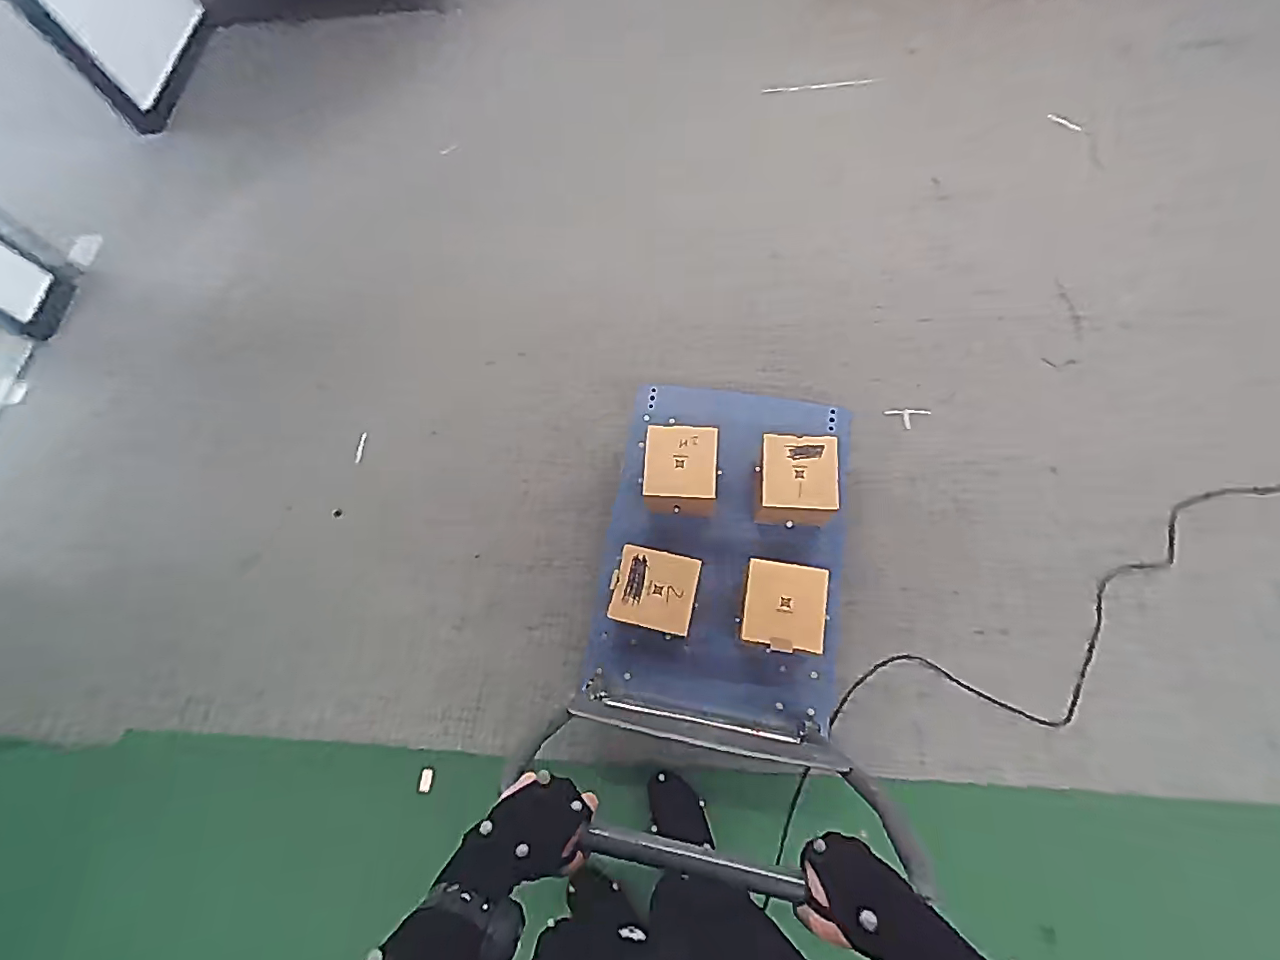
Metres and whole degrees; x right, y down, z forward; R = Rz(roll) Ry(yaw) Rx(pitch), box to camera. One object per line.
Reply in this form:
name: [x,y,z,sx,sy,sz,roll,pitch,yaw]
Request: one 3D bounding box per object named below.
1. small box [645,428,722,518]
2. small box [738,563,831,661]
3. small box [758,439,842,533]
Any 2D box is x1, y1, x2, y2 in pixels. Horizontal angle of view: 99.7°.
small box: [0.107,-0.010,1.315,0.168,0.176,0.179,4,72,6]
small box: [0.314,0.295,1.199,0.168,0.176,0.179,9,74,8]
small box: [0.373,0.017,1.282,0.168,0.176,0.179,4,73,7]
